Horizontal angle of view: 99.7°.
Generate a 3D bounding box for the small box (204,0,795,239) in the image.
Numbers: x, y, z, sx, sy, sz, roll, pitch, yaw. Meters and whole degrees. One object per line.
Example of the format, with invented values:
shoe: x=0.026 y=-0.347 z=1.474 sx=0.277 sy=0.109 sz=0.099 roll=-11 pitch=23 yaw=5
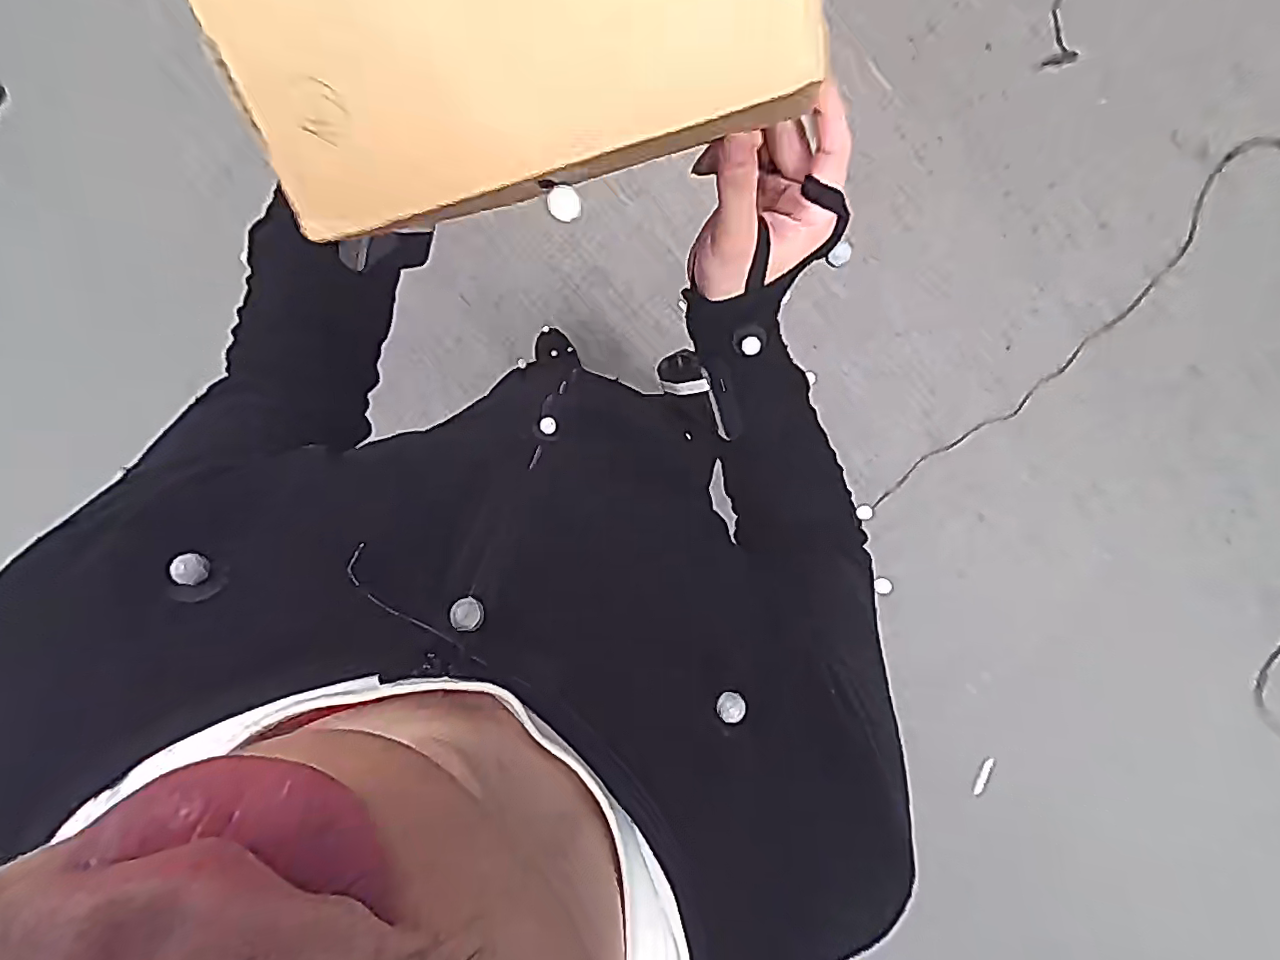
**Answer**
small box: x=-0.041 y=-0.208 z=0.203 sx=0.179 sy=0.176 sz=0.168 roll=-7 pitch=120 yaw=20
